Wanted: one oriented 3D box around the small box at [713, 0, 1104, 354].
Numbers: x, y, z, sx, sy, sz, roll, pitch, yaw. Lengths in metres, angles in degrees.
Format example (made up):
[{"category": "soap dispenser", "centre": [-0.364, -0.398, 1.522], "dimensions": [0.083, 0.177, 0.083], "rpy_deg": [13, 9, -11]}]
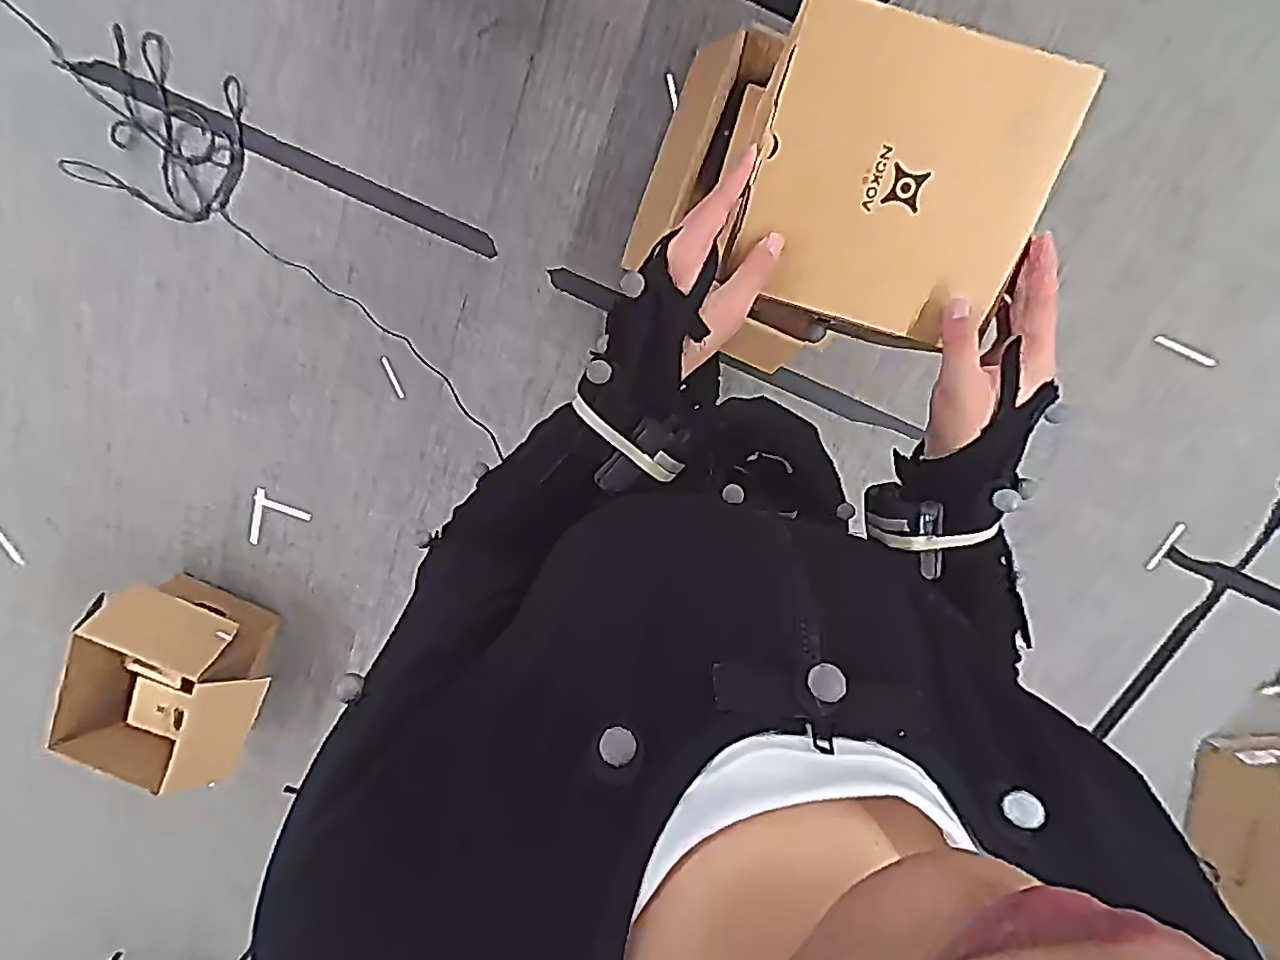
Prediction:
[{"category": "small box", "centre": [0.163, -0.204, 0.402], "dimensions": [0.179, 0.176, 0.168], "rpy_deg": [16, 108, -1]}]
